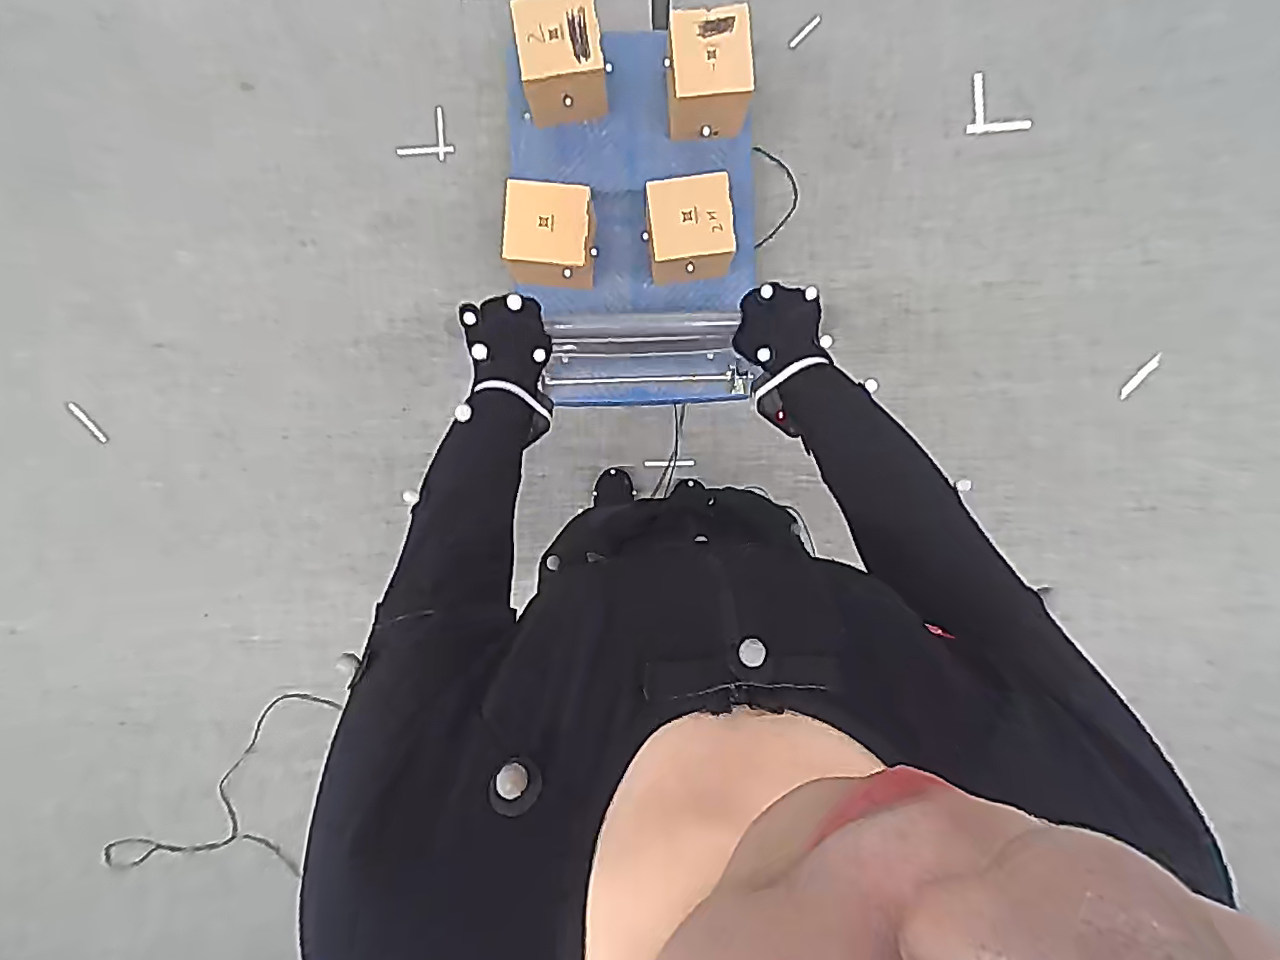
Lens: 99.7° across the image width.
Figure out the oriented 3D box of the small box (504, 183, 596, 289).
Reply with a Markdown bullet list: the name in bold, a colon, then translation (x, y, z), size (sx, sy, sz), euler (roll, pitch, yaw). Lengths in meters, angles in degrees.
- **small box**: translation (-0.197, -0.545, 1.225), size (0.179, 0.176, 0.168), euler (4, 92, -2)

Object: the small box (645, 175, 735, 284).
- **small box**: translation (0.108, -0.556, 1.223), size (0.179, 0.176, 0.168), euler (-7, 93, 1)

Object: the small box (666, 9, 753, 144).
- **small box**: translation (0.148, -0.892, 1.208), size (0.168, 0.176, 0.179), euler (-5, 94, 0)
